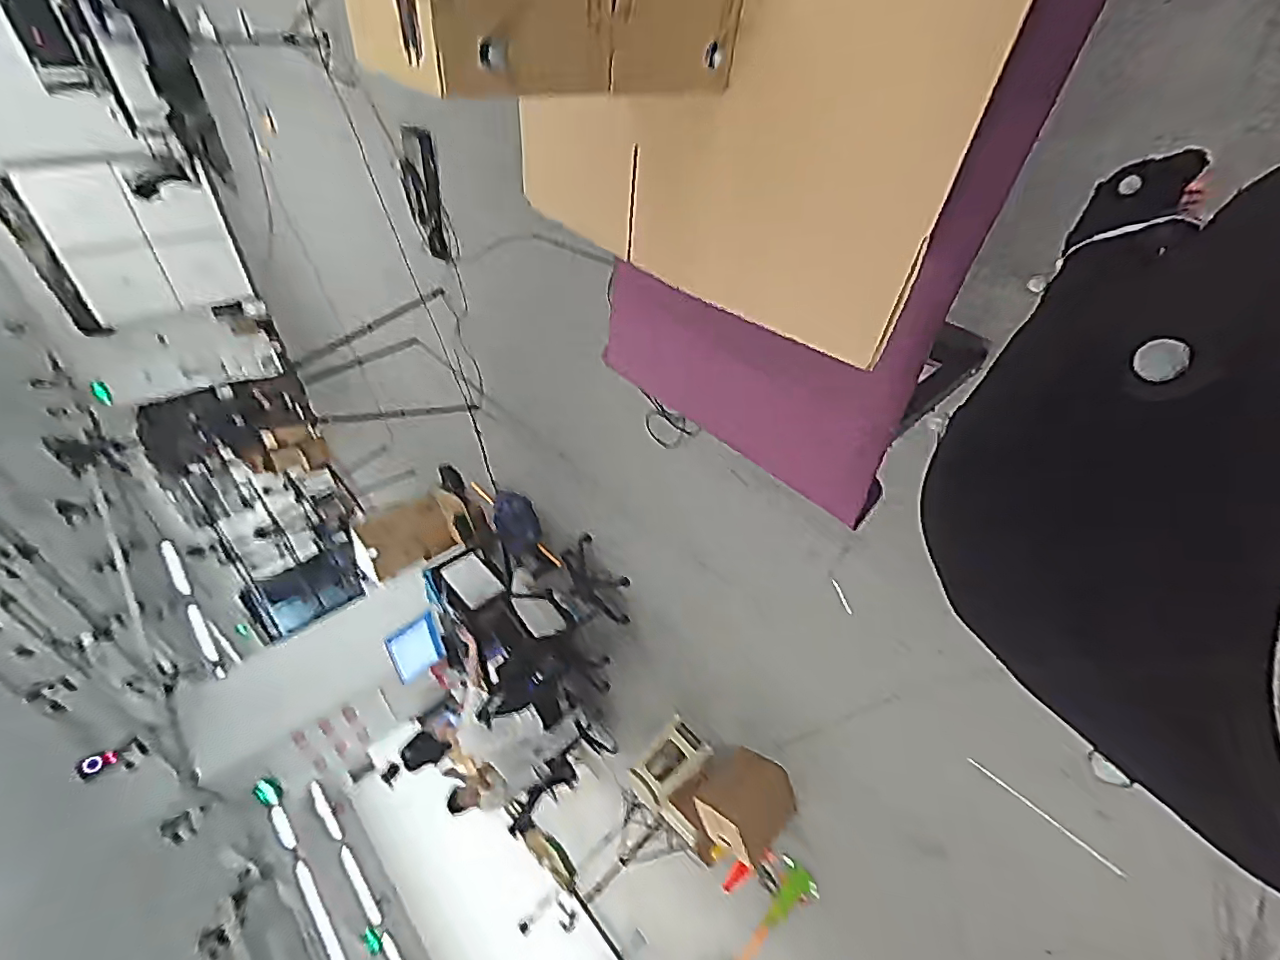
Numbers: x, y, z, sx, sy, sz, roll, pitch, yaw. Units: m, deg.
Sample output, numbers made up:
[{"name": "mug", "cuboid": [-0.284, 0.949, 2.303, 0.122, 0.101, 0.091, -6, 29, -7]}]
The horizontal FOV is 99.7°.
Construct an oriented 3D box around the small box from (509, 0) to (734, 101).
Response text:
[{"name": "small box", "cuboid": [-0.014, -0.494, 0.540, 0.179, 0.176, 0.168, 36, 140, 31]}]
